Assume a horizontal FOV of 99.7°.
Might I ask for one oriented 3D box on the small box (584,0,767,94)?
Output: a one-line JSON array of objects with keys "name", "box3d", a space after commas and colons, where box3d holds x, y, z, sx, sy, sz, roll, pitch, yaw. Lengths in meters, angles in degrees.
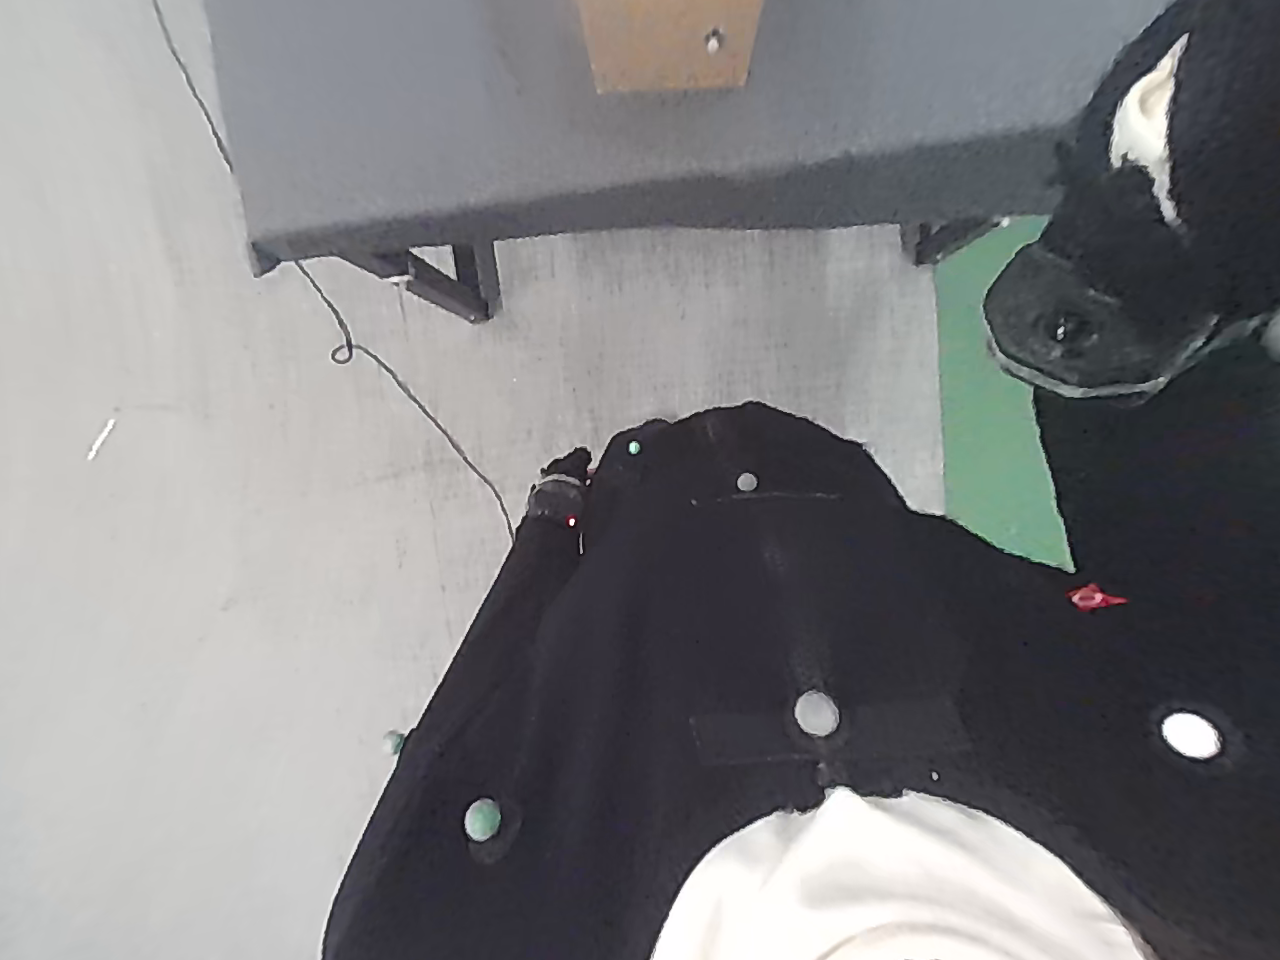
[{"name": "small box", "box3d": [0.035, -0.533, 0.553, 0.179, 0.176, 0.168, -1, 95, 4]}]
